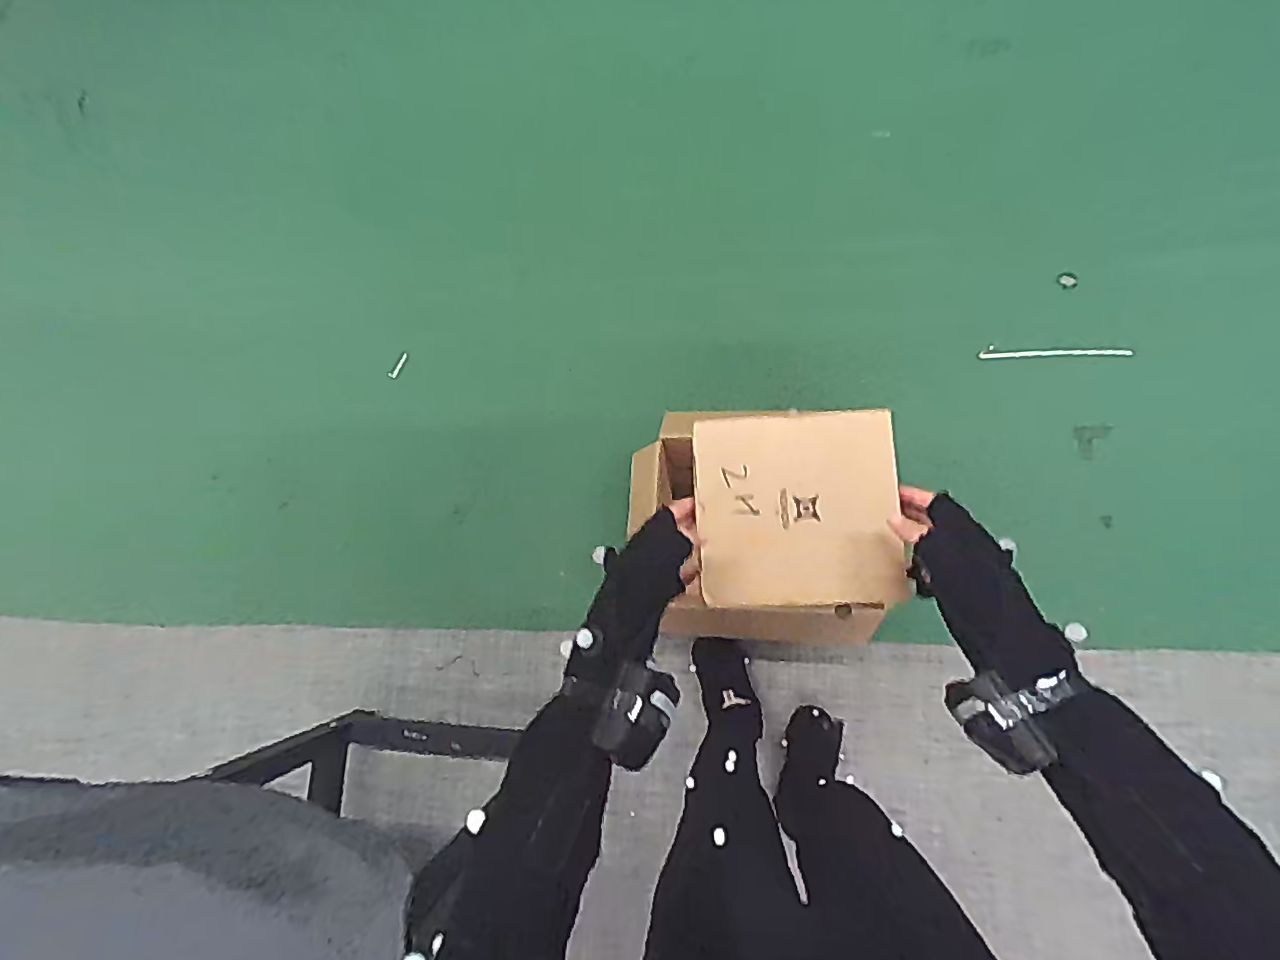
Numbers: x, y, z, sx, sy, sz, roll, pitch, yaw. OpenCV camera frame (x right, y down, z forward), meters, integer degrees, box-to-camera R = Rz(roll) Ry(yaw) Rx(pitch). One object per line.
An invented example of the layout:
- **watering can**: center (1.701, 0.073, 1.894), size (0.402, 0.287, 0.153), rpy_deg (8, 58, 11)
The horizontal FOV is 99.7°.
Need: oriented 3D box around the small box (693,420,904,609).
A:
- **small box**: center (0.145, 0.040, 0.555), size (0.179, 0.176, 0.168), rpy_deg (-3, 82, 7)
